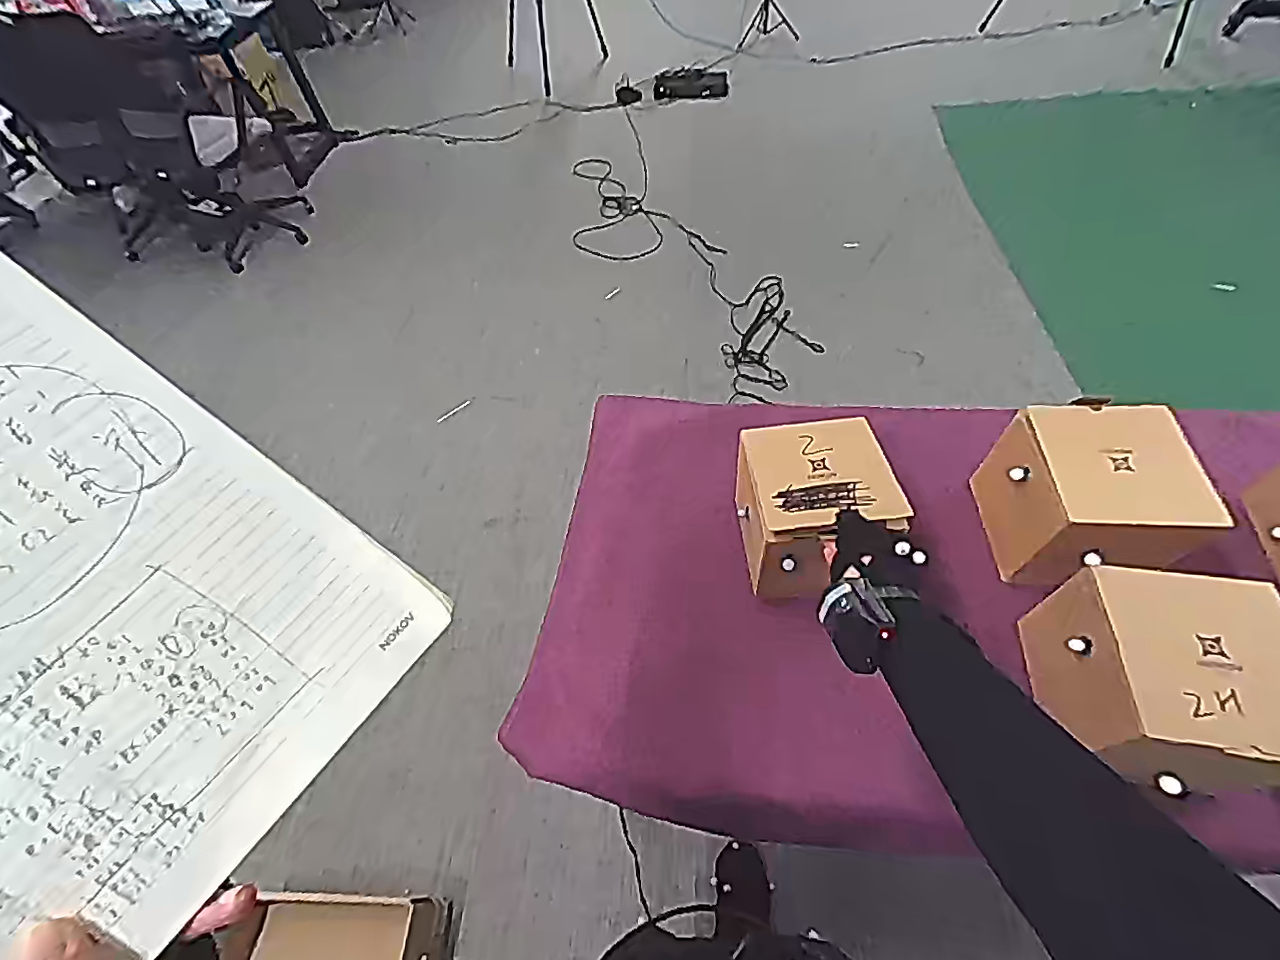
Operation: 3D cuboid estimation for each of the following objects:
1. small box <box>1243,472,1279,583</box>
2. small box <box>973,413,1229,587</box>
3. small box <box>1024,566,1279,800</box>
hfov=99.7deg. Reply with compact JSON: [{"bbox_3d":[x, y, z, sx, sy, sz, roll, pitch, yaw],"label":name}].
[{"bbox_3d":[0.904,0.060,0.642,0.168,0.176,0.179,7,56,12],"label":"small box"},{"bbox_3d":[0.571,0.033,0.704,0.168,0.176,0.179,1,54,7],"label":"small box"},{"bbox_3d":[0.543,0.215,0.570,0.168,0.176,0.179,6,55,11],"label":"small box"}]
